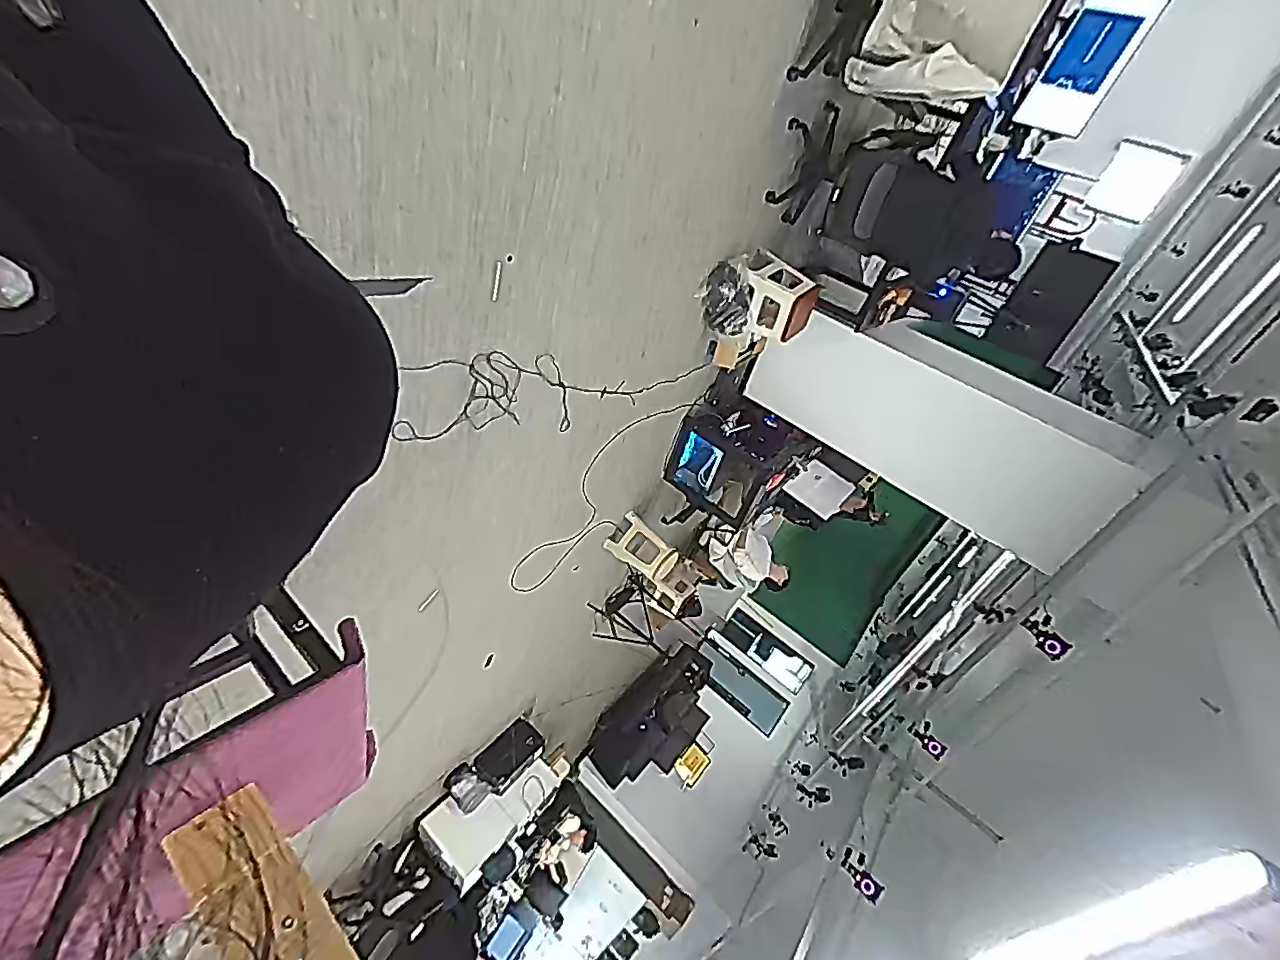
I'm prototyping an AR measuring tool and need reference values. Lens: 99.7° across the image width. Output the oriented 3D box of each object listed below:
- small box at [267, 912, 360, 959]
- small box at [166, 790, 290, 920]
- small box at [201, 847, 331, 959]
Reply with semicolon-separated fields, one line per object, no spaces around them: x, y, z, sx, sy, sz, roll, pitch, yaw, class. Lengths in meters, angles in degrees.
-0.646;1.002;1.055;0.168;0.176;0.179;-27;145;-49;small box
-0.891;0.820;1.178;0.168;0.176;0.179;-27;146;-49;small box
-0.769;0.913;1.121;0.168;0.176;0.179;-28;147;-48;small box
